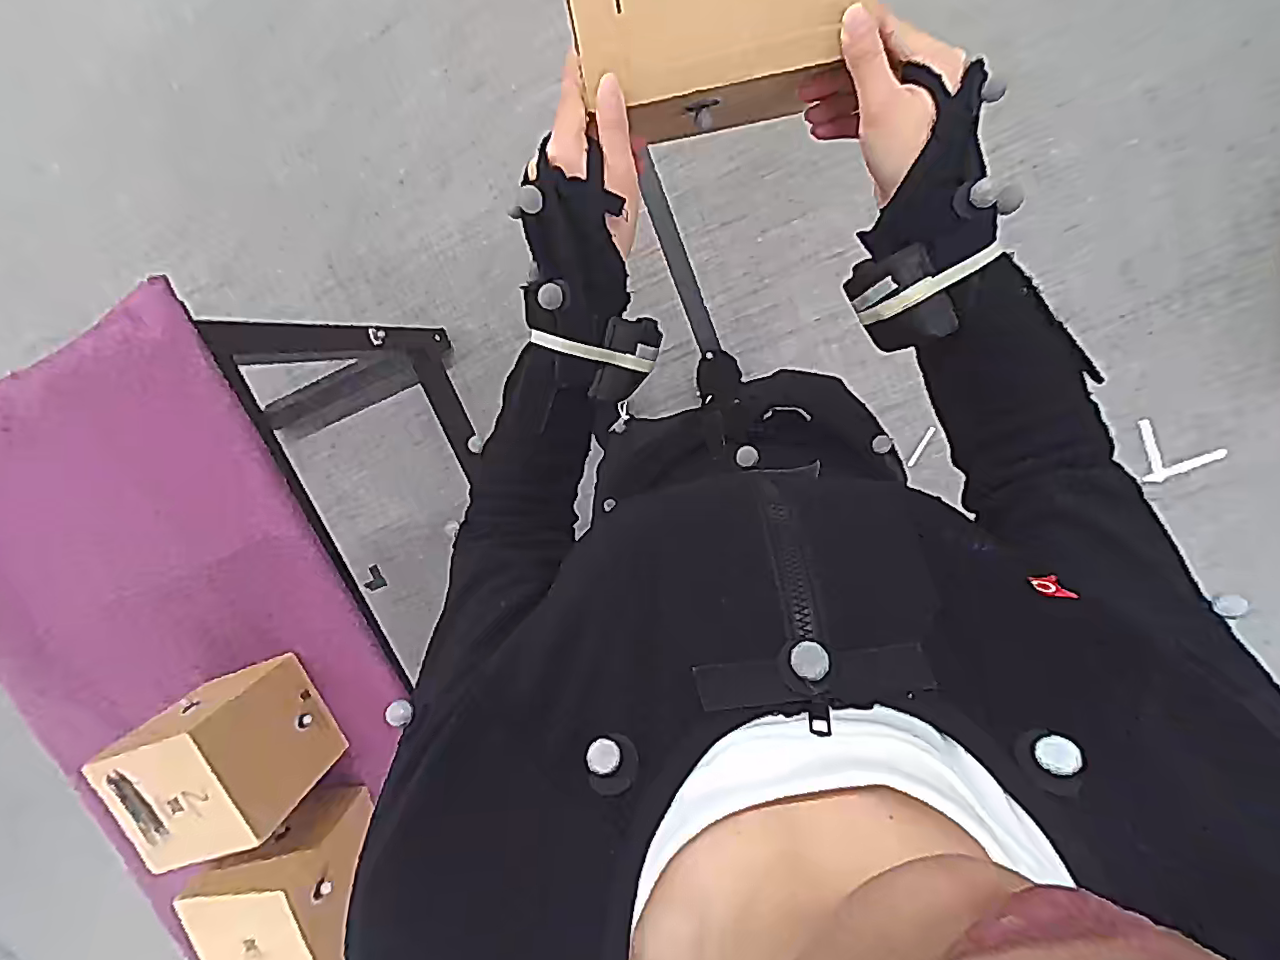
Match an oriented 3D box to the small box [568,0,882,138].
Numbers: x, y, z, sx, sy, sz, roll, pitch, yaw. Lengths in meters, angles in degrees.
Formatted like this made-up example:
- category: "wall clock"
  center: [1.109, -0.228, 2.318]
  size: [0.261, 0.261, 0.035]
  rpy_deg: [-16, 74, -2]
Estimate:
- category: "small box"
  center: [0.041, -0.348, 0.358]
  size: [0.179, 0.176, 0.168]
  rpy_deg: [-9, 113, 4]
